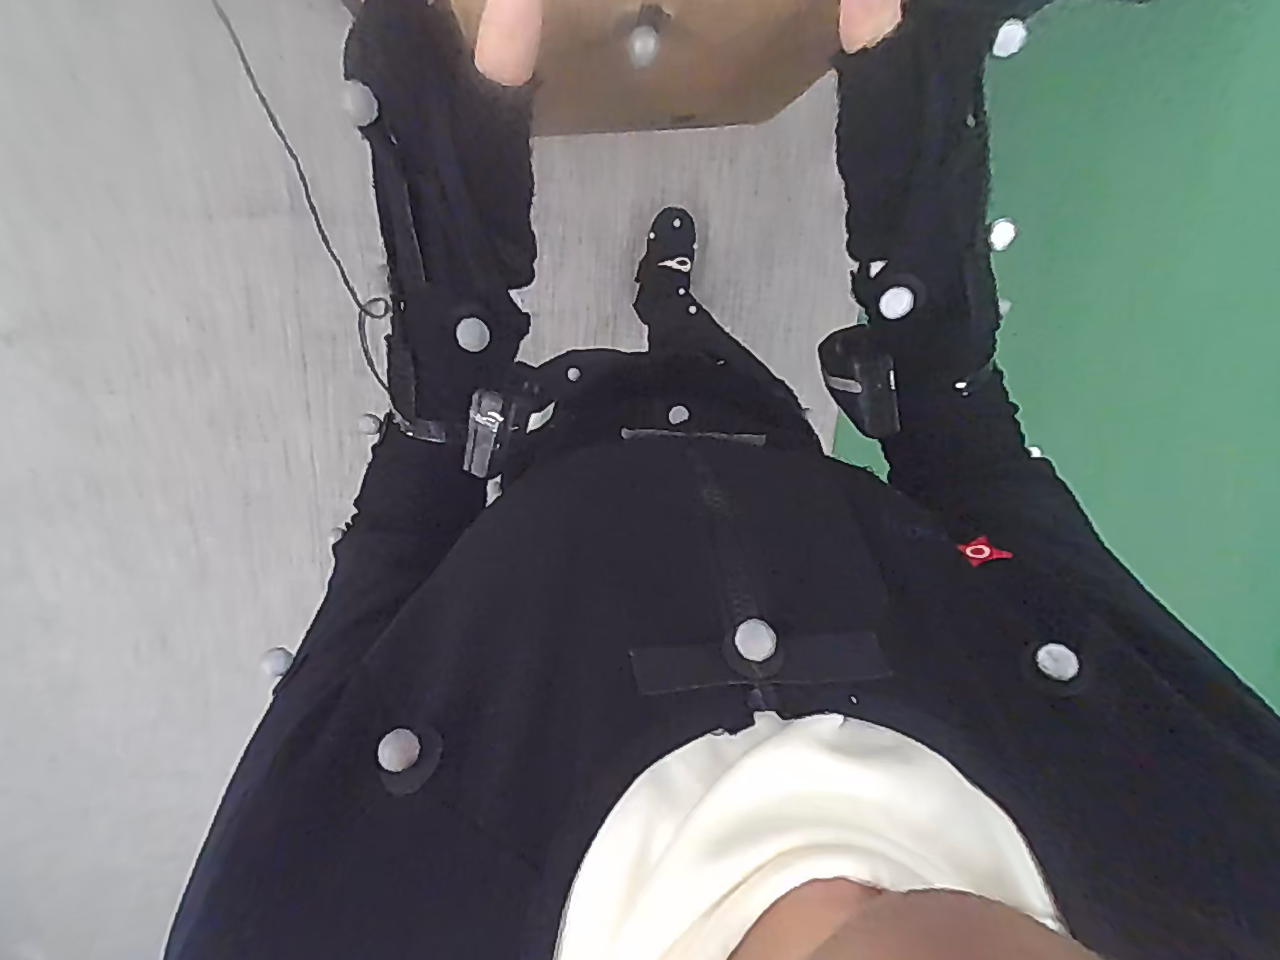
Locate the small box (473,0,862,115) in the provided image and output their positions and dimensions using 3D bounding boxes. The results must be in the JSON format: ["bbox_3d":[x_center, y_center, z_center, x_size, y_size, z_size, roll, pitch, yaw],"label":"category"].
[{"bbox_3d":[0.003,-0.281,0.222,0.168,0.176,0.179,-6,108,-5],"label":"small box"}]
